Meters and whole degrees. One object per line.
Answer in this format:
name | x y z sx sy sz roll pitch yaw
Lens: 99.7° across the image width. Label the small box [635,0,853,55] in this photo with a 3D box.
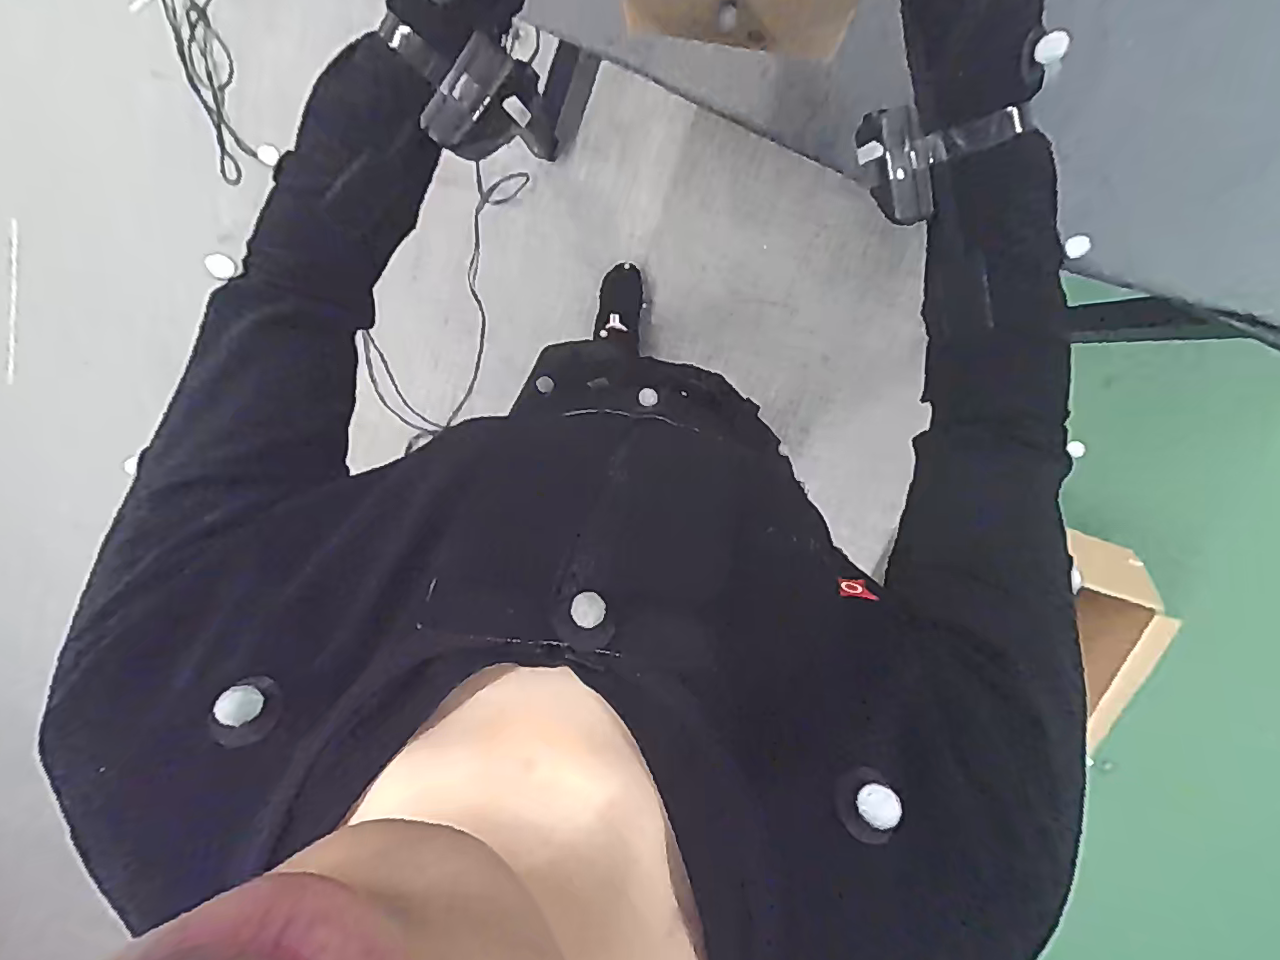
small box | 0.080 -0.416 0.331 0.168 0.176 0.179 12 103 2
